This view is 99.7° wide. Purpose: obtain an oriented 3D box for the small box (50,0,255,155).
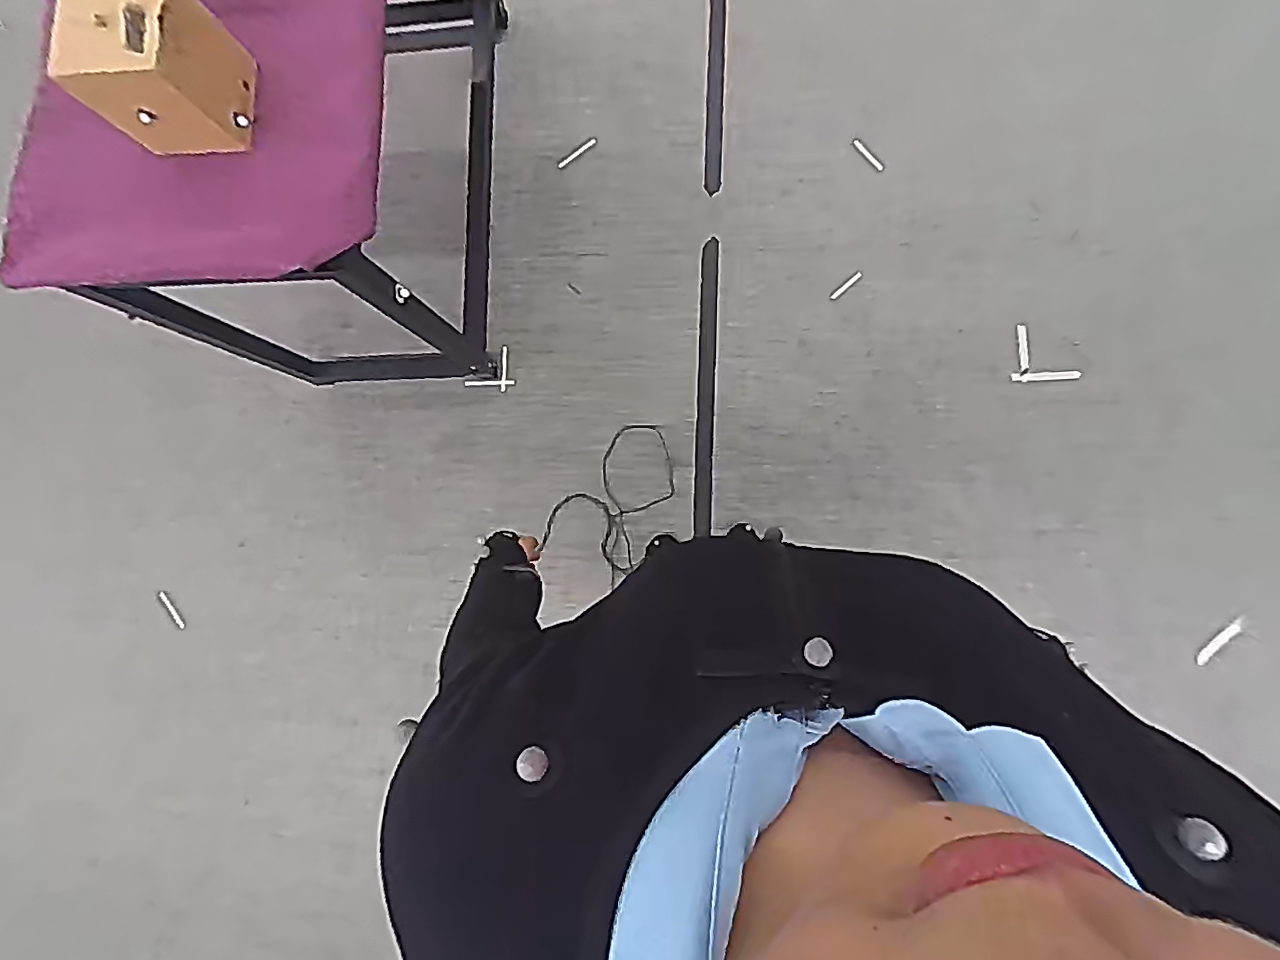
[{"bbox_3d":[-0.756,-0.649,0.857,0.179,0.176,0.168,0,85,6],"label":"small box"}]
